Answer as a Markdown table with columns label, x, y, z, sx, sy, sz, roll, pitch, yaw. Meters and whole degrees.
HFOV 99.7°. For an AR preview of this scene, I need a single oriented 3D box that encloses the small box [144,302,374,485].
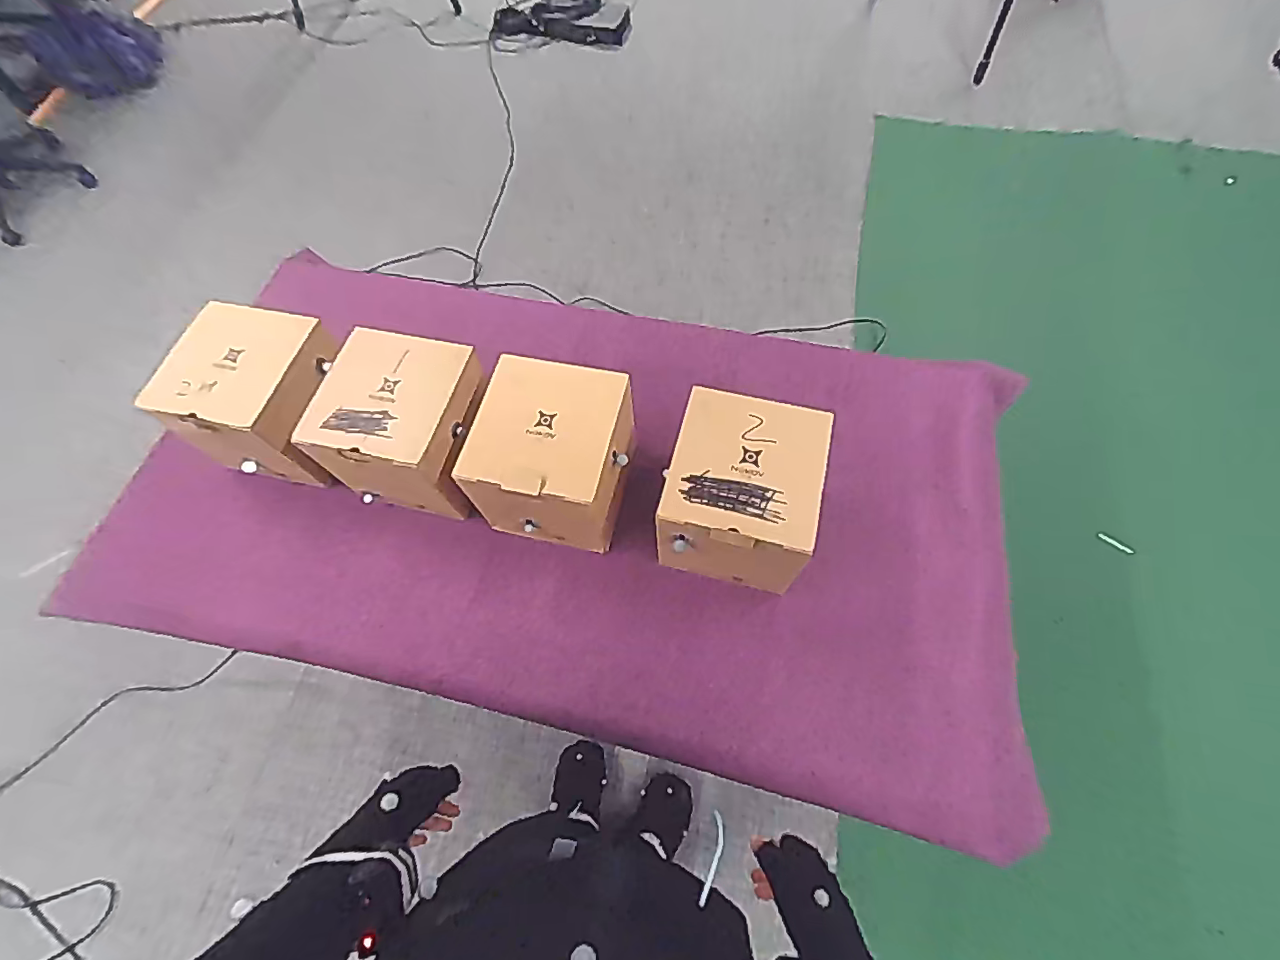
| label | x | y | z | sx | sy | sz | roll | pitch | yaw |
| --- | --- | --- | --- | --- | --- | --- | --- | --- | --- |
| small box | -0.510 | -0.116 | 0.760 | 0.168 | 0.176 | 0.179 | 11 | 66 | 8 |
